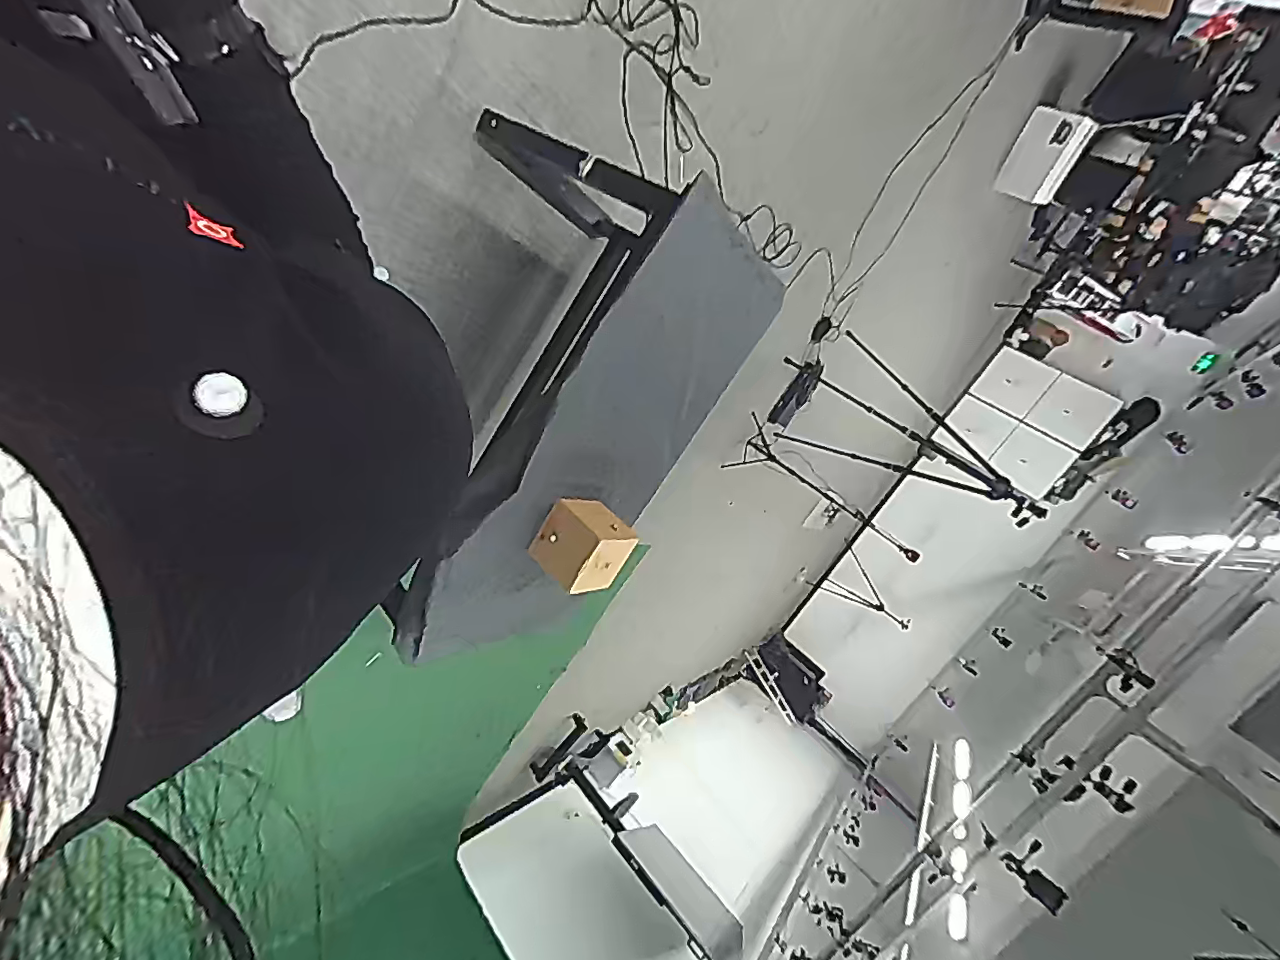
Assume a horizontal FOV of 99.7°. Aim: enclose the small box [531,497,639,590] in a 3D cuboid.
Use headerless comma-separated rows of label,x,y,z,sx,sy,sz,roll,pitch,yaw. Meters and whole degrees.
small box,-0.141,0.157,1.379,0.179,0.176,0.168,8,118,-58
